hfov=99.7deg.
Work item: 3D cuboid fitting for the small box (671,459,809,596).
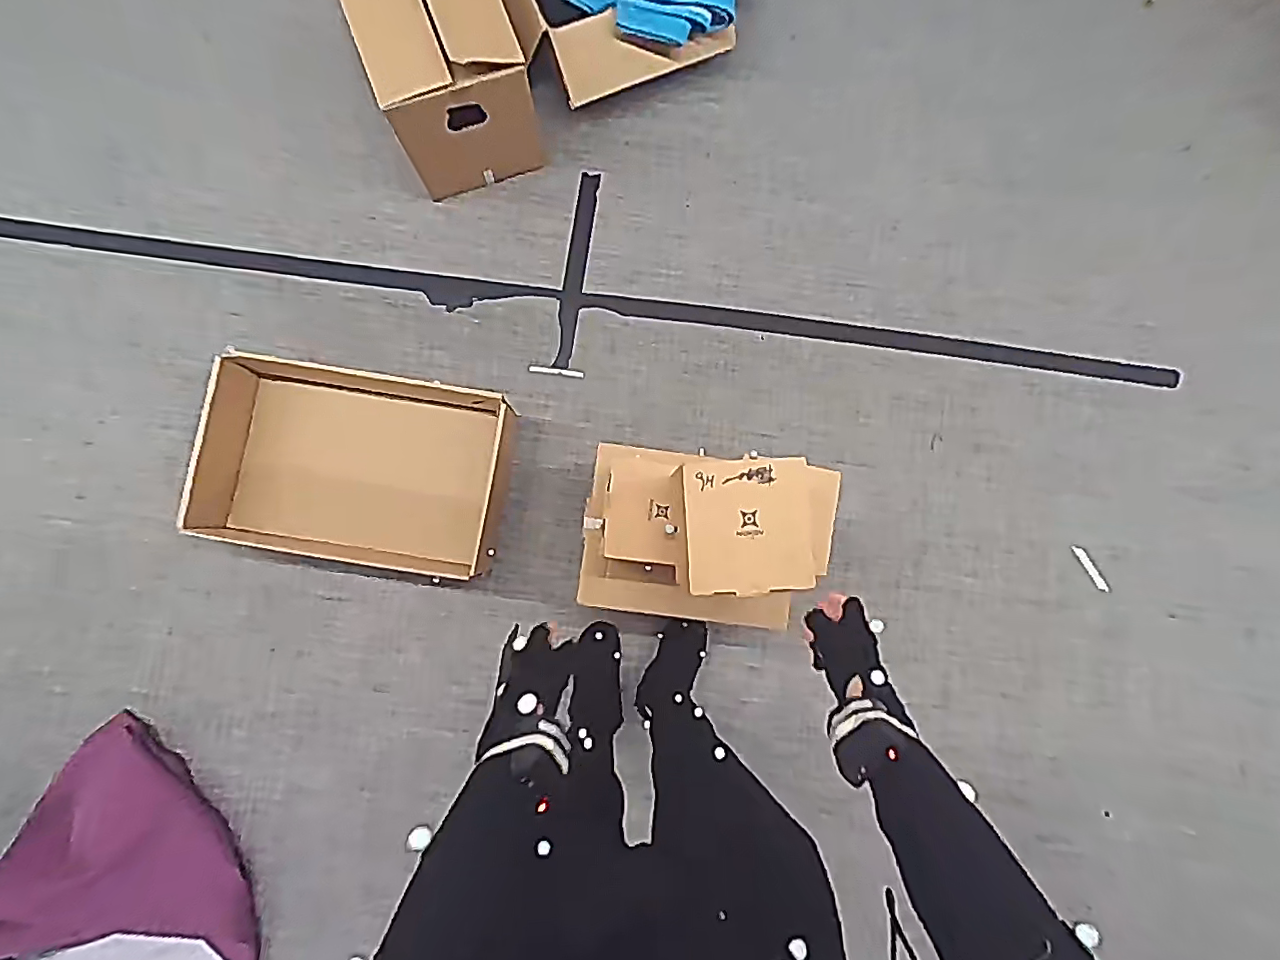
[{"bbox_3d":[0.135,0.066,0.785,0.168,0.176,0.179,-2,85,-2],"label":"small box"}]

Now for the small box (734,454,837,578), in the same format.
[{"bbox_3d":[0.225,0.066,0.953,0.168,0.176,0.179,12,83,-1],"label":"small box"}]

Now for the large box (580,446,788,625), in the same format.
[{"bbox_3d":[0.087,0.121,1.186,0.408,0.320,0.320,7,85,-3],"label":"large box"}]
